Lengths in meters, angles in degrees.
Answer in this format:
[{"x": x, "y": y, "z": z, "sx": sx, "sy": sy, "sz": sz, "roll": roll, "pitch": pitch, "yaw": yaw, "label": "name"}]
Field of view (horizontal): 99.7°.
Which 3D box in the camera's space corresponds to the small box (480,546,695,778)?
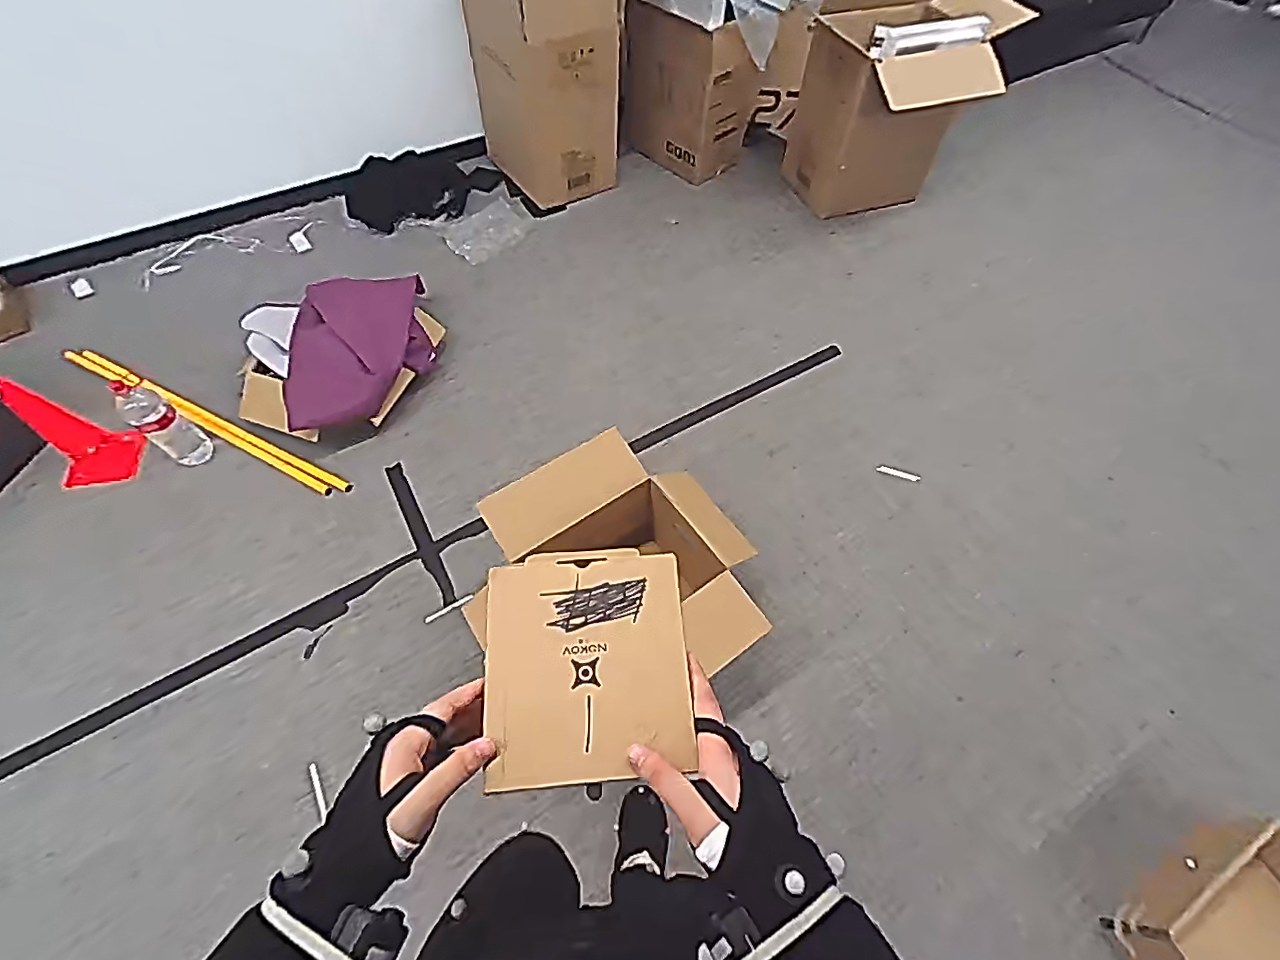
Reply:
[{"x": -0.046, "y": 0.179, "z": 0.516, "sx": 0.168, "sy": 0.176, "sz": 0.179, "roll": -5, "pitch": 63, "yaw": -2, "label": "small box"}]
